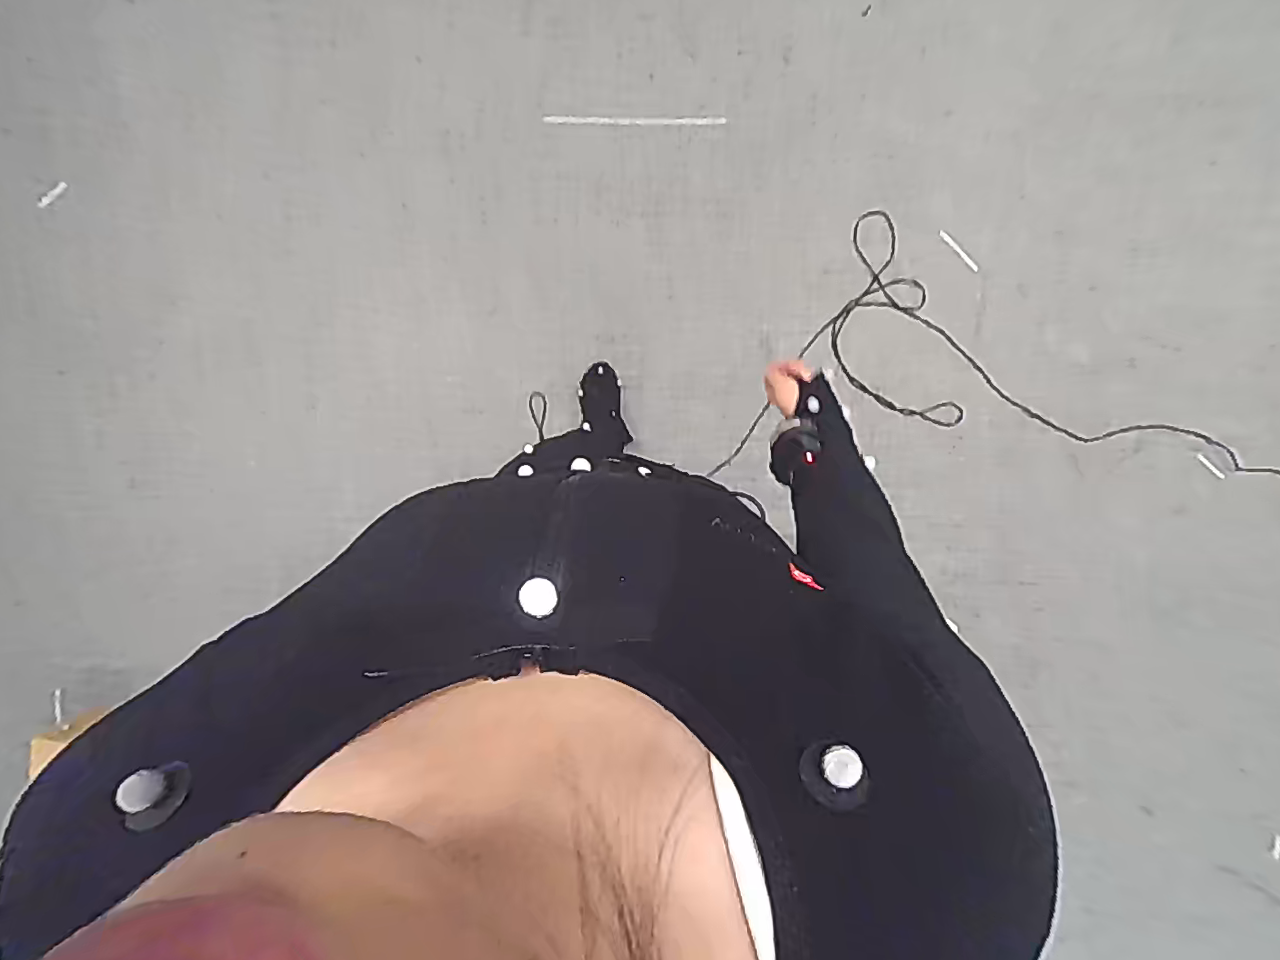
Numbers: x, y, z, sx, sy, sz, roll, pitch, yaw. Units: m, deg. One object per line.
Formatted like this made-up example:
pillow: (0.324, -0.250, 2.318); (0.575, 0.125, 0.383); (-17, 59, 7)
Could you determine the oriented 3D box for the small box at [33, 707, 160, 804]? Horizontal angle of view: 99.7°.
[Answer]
small box: (-1.467, 0.738, 1.465); (0.179, 0.176, 0.168); (7, 95, 0)
